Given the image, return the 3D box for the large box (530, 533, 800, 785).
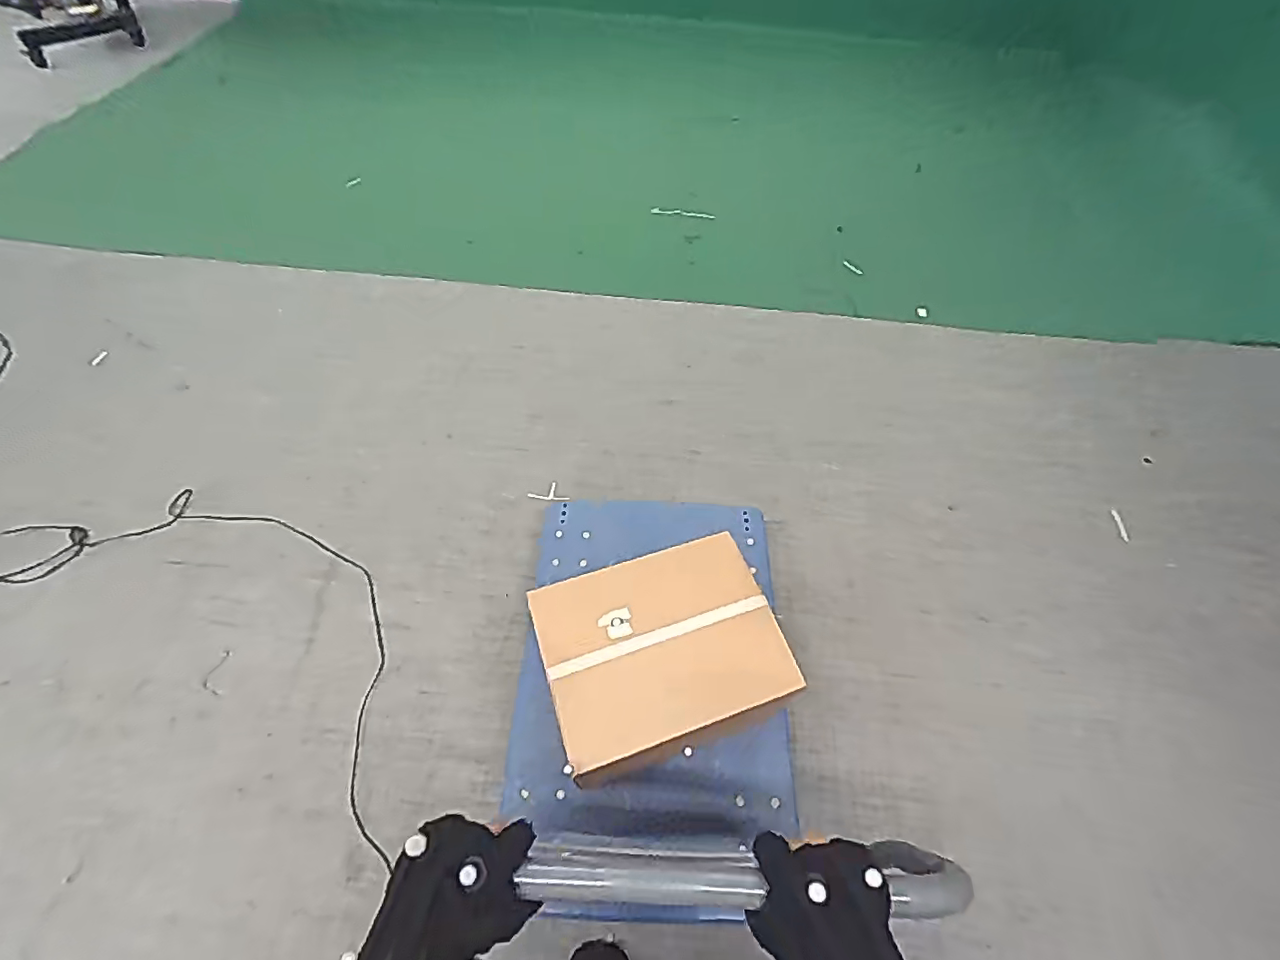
[{"bbox_3d":[0.035,0.359,1.072,0.408,0.320,0.320,-17,58,-12],"label":"large box"}]
